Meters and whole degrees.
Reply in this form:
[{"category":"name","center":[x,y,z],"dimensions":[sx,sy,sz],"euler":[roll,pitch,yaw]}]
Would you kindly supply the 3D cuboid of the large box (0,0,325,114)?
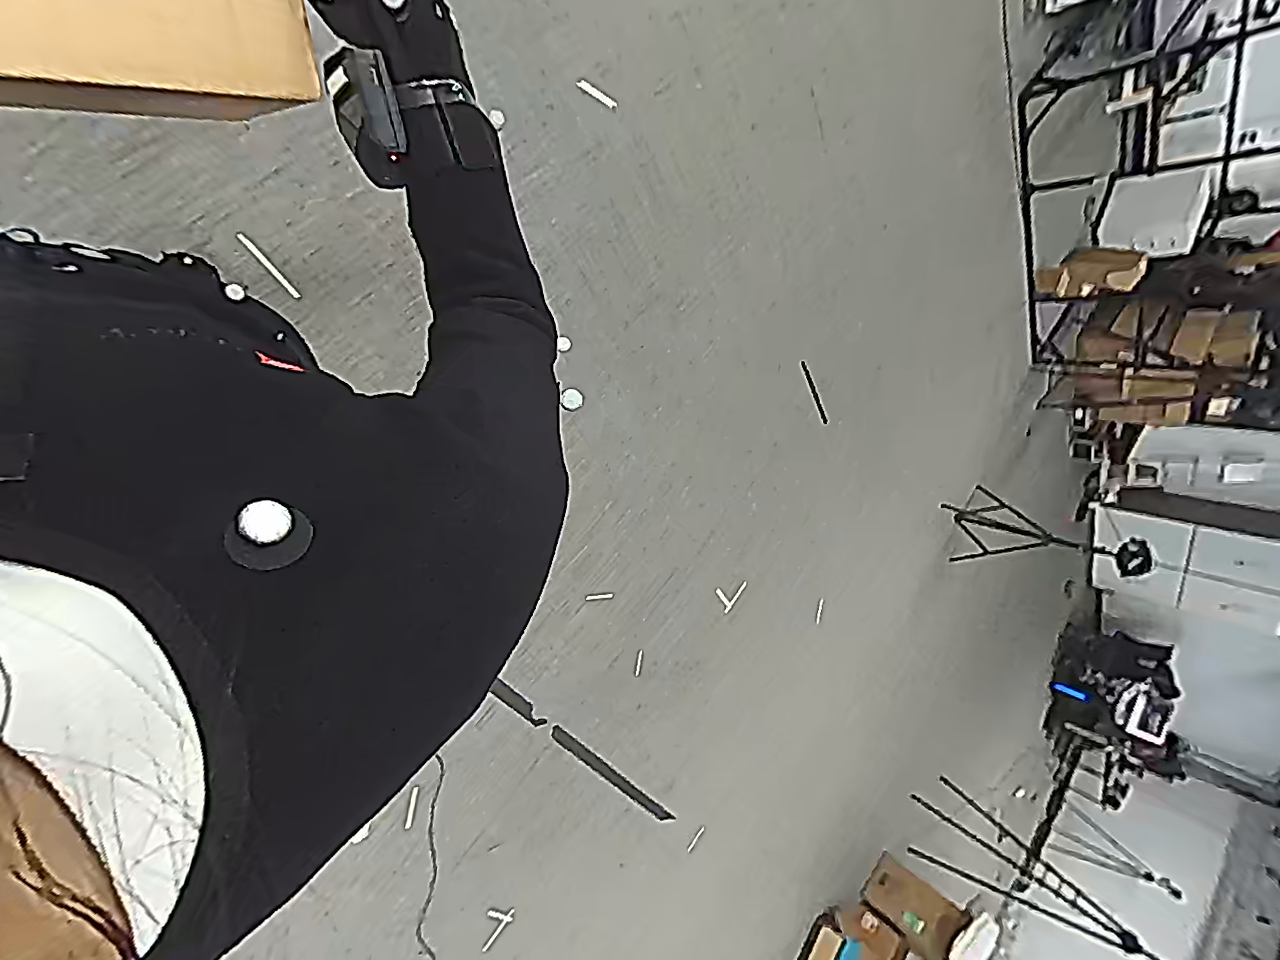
[{"category":"large box","center":[-0.458,-0.387,0.276],"dimensions":[0.408,0.320,0.320],"euler":[-22,129,-34]}]
